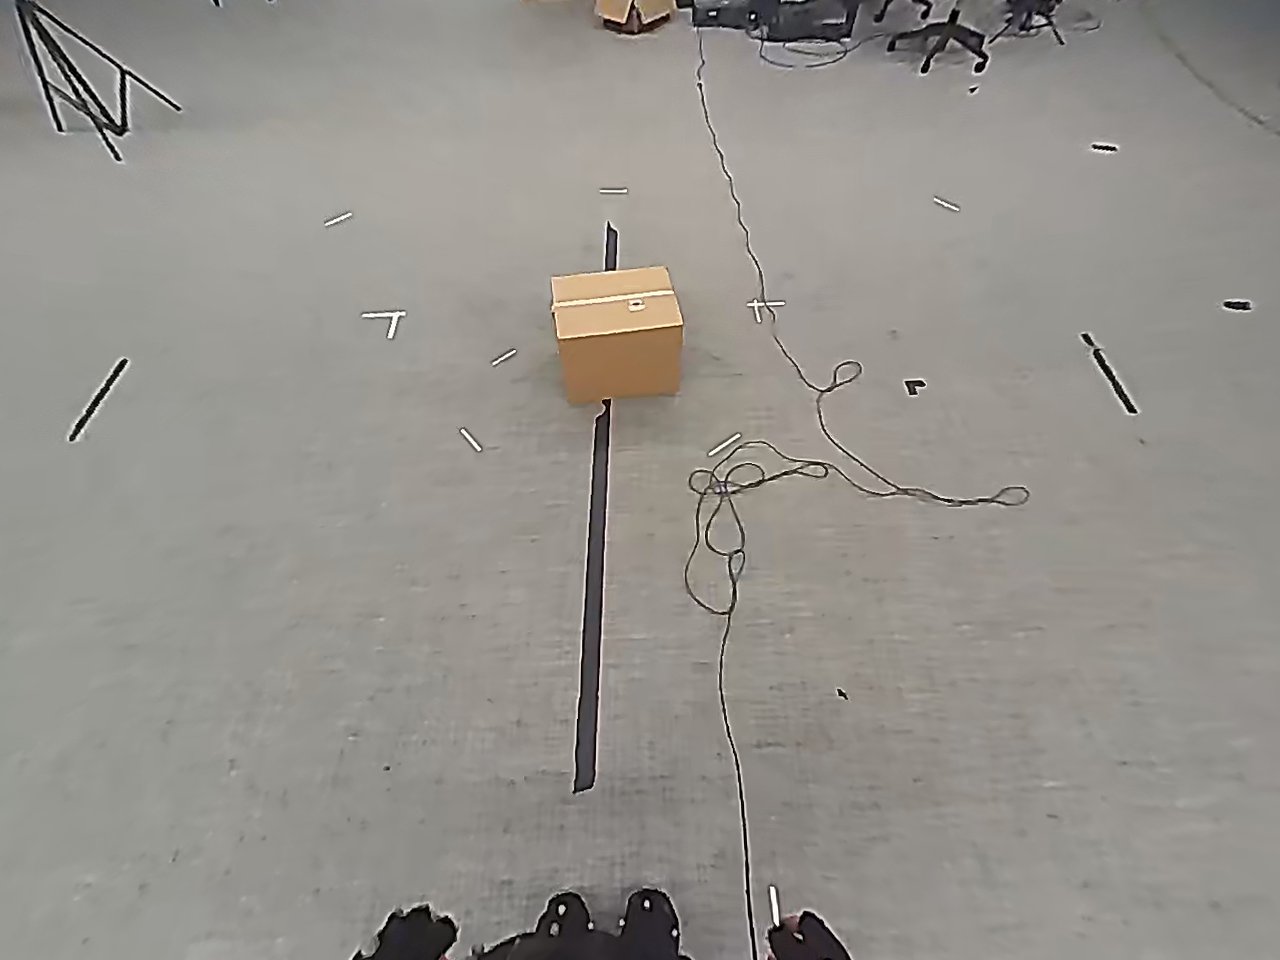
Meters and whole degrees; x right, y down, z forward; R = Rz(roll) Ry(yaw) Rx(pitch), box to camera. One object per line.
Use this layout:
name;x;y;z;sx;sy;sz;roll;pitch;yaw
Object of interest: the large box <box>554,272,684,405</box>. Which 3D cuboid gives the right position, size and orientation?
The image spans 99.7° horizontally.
large box;-0.078;-0.497;1.916;0.408;0.320;0.320;-7;56;-5
